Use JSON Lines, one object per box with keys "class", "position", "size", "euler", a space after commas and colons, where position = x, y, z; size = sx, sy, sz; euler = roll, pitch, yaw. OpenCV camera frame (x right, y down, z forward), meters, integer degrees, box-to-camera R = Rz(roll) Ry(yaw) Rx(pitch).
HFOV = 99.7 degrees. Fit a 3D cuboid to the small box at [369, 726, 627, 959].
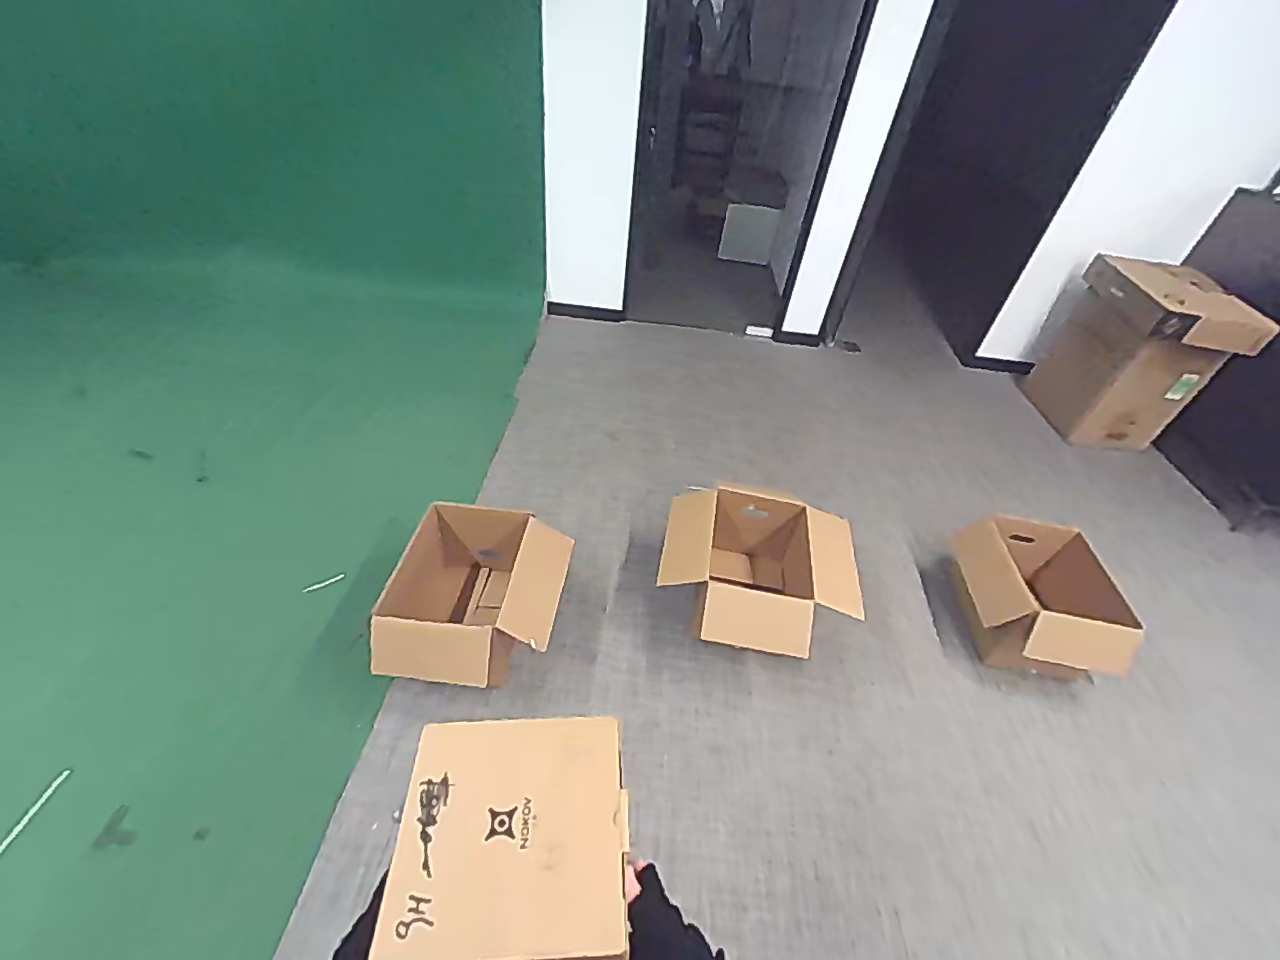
{"class": "small box", "position": [-0.106, 0.337, 0.478], "size": [0.179, 0.176, 0.168], "euler": [1, 40, -5]}
